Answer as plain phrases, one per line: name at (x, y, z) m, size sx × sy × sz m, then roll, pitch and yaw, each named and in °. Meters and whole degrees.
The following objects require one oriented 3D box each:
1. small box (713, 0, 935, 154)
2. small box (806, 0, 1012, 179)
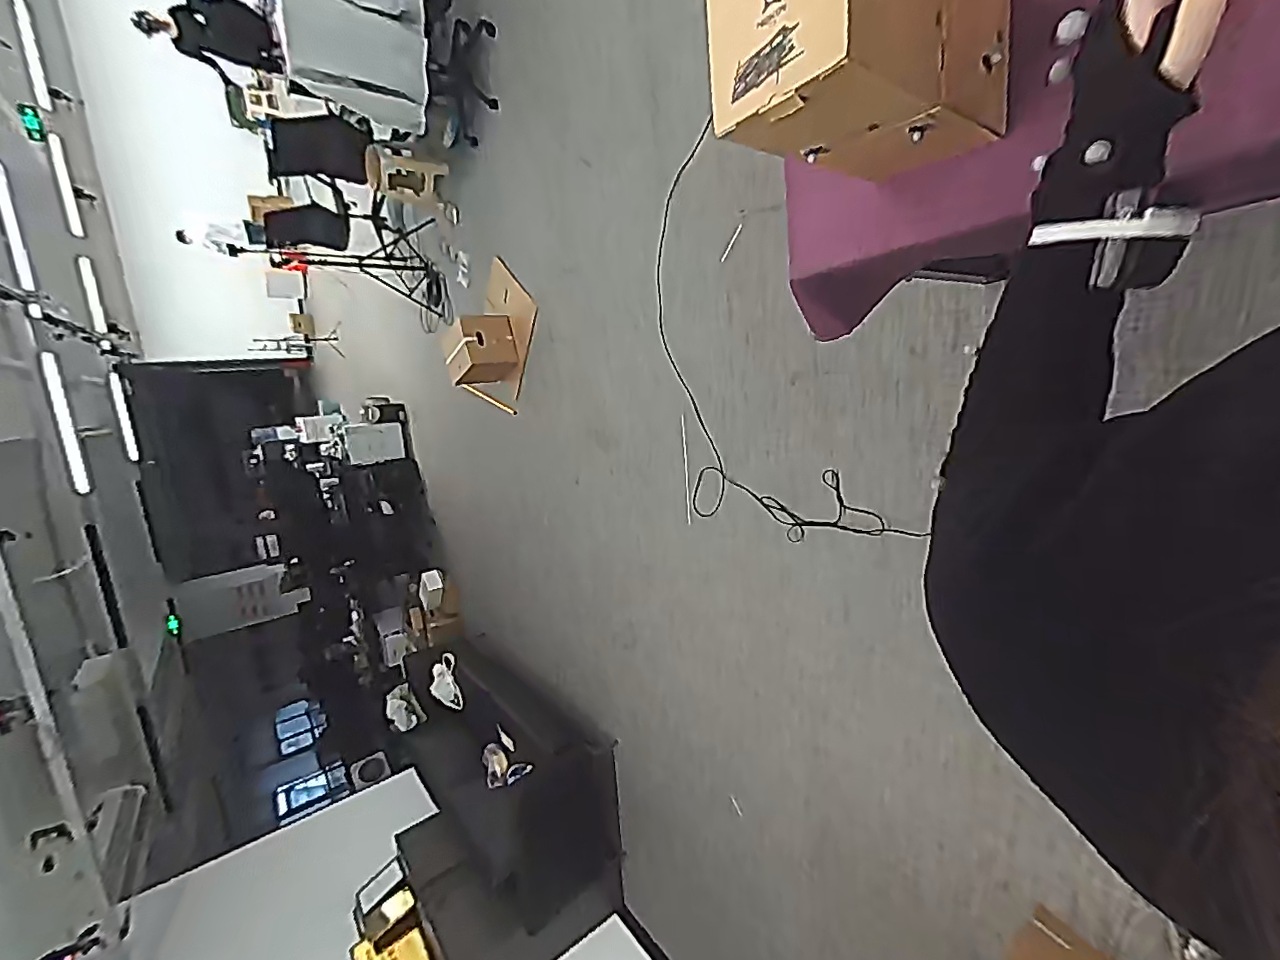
small box at (0.198, -0.478, 0.582) m, size 0.168 × 0.176 × 0.179 m, roll 7°, pitch 104°, yaw 52°
small box at (0.331, -0.501, 0.678) m, size 0.179 × 0.176 × 0.168 m, roll 9°, pitch 106°, yaw 52°
